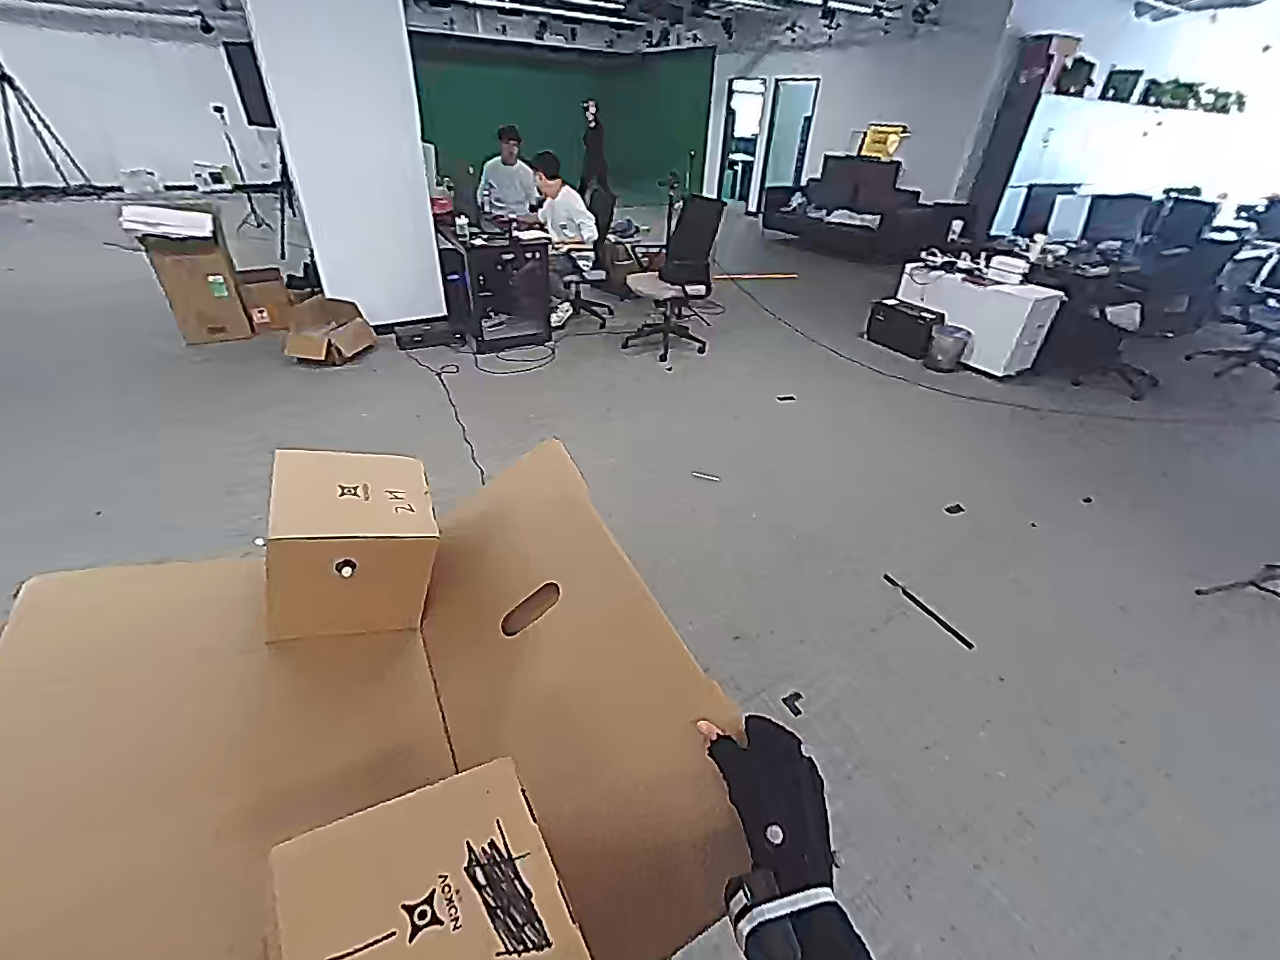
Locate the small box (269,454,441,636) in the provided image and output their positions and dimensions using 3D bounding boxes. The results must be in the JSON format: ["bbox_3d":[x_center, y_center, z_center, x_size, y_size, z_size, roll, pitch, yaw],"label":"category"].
[{"bbox_3d":[-0.373,0.086,0.706,0.179,0.176,0.168,4,35,-32],"label":"small box"}]
